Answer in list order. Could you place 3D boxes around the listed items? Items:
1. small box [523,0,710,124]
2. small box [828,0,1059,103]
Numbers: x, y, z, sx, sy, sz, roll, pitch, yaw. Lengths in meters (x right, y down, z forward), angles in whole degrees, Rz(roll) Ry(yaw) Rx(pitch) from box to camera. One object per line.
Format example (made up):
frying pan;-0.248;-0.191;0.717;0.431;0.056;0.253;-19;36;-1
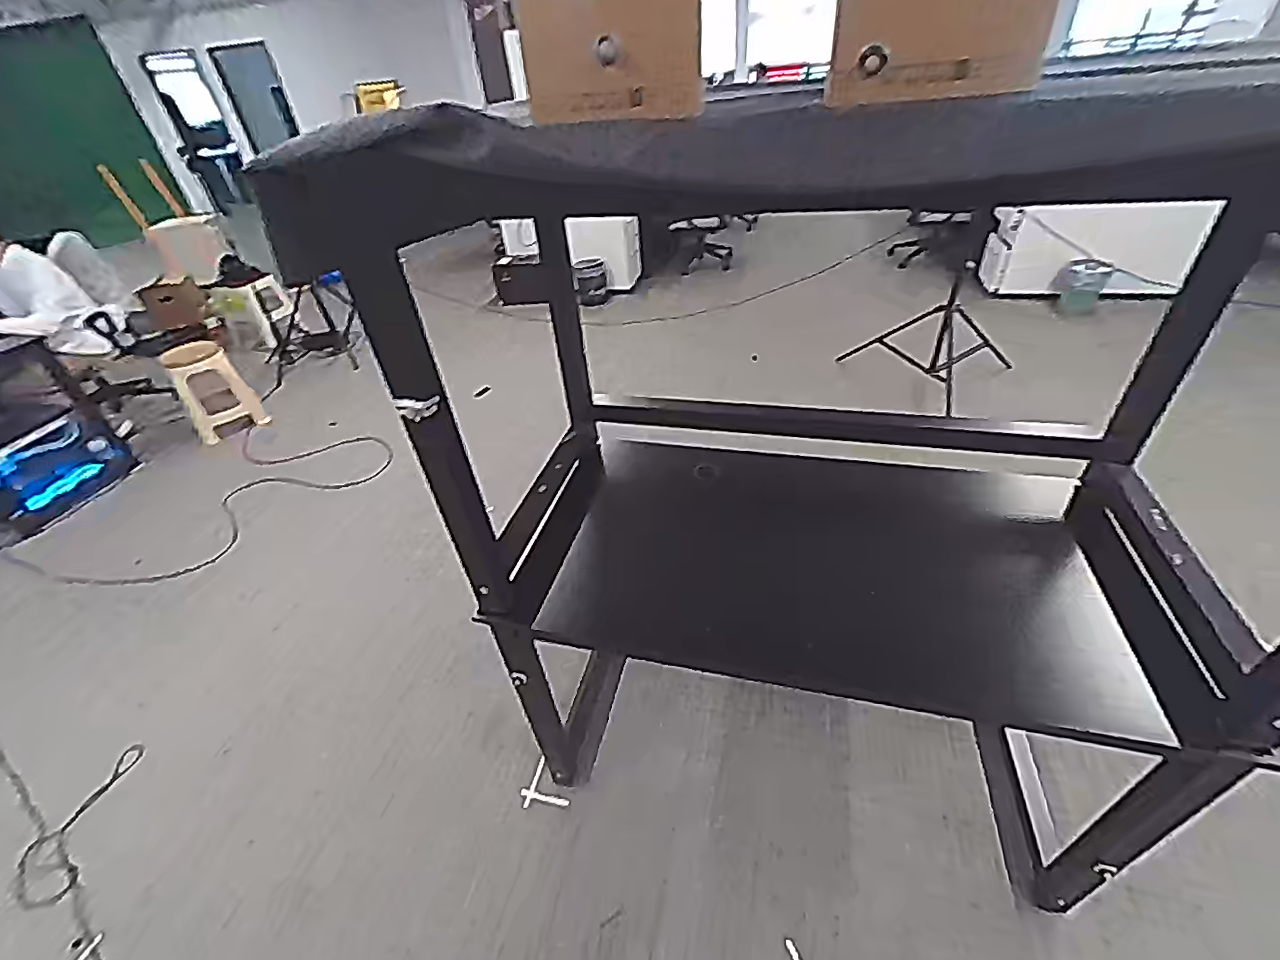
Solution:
small box;-0.016;-0.459;0.534;0.168;0.176;0.179;0;37;8
small box;0.264;-0.444;0.479;0.168;0.176;0.179;6;37;14
